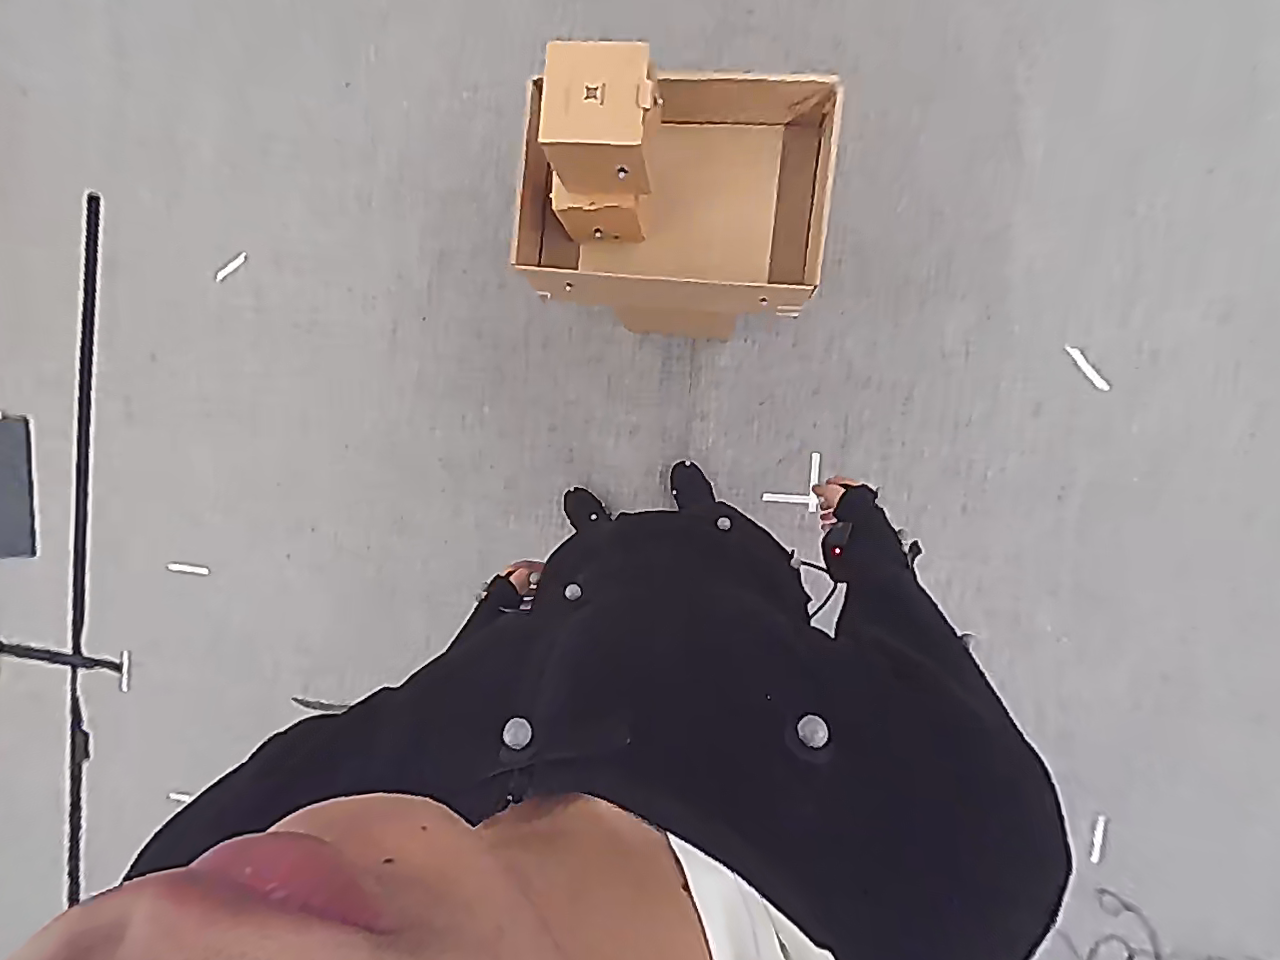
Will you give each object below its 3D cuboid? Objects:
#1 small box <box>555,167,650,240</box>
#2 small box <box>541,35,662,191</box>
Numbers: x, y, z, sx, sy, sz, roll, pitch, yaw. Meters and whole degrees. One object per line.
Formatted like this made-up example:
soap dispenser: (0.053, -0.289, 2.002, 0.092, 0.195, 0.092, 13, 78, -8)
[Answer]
small box: (-0.072, -0.619, 1.116, 0.168, 0.176, 0.179, 2, 93, 8)
small box: (-0.059, -0.631, 0.949, 0.179, 0.176, 0.168, 7, 92, 7)
